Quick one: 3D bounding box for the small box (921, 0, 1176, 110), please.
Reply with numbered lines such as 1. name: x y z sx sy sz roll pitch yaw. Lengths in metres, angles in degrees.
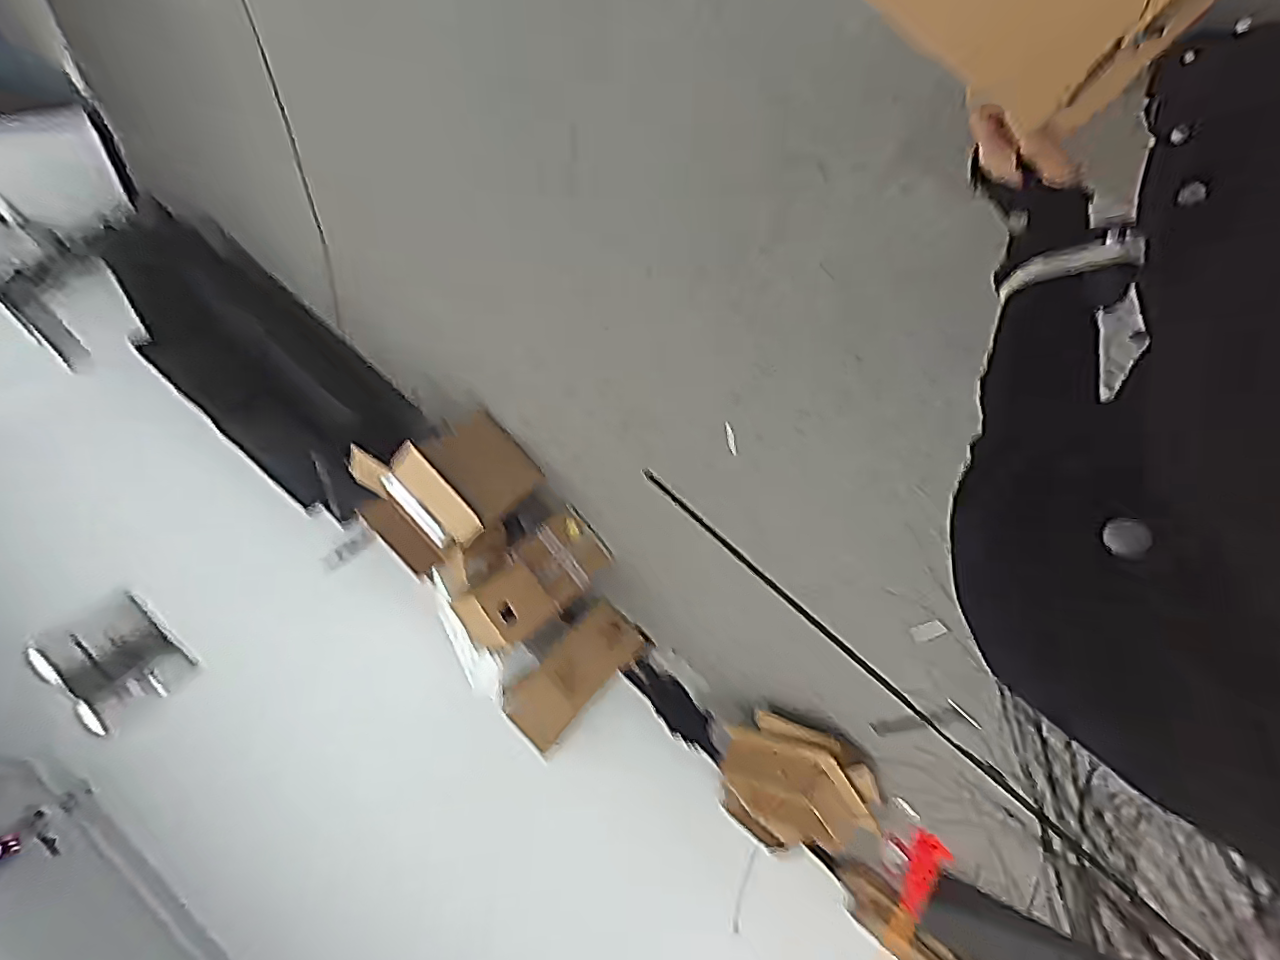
1. small box: 0.384 -0.462 0.459 0.179 0.176 0.168 43 144 6
